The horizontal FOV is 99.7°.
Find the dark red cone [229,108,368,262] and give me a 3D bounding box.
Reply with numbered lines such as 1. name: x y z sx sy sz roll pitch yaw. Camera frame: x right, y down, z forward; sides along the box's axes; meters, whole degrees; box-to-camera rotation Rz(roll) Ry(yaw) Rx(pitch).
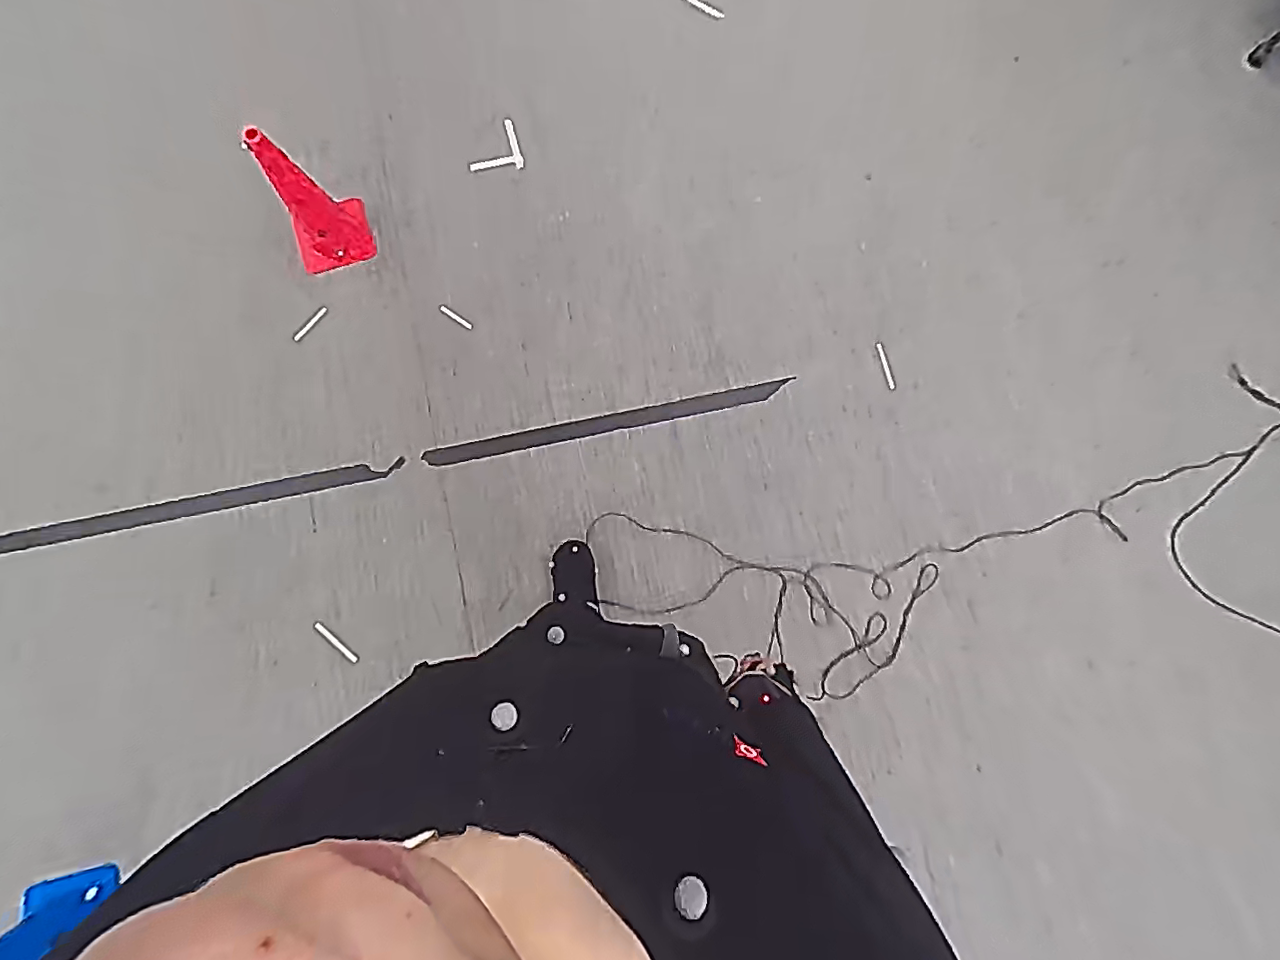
1. dark red cone: -0.856 -0.730 1.322 0.202 0.394 0.201 -20 82 -6

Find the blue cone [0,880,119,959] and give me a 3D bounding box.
1. blue cone: -1.237 0.961 1.018 0.193 0.380 0.192 -12 81 -4
